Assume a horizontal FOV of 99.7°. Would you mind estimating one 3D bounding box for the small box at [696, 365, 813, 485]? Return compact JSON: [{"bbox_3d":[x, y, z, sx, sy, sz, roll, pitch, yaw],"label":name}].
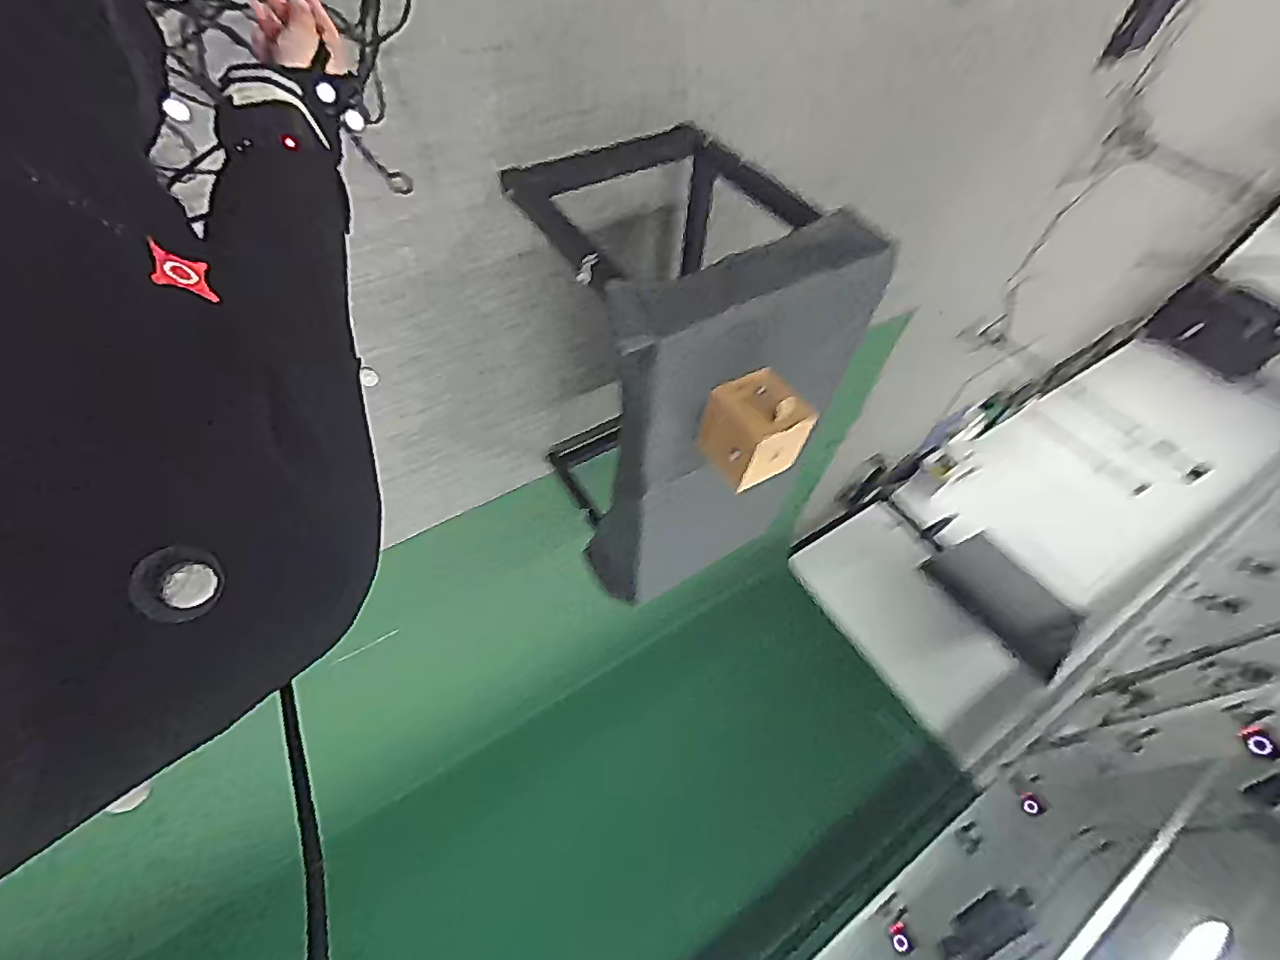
[{"bbox_3d":[0.247,-0.126,1.216,0.168,0.176,0.179,-24,149,-25],"label":"small box"}]
